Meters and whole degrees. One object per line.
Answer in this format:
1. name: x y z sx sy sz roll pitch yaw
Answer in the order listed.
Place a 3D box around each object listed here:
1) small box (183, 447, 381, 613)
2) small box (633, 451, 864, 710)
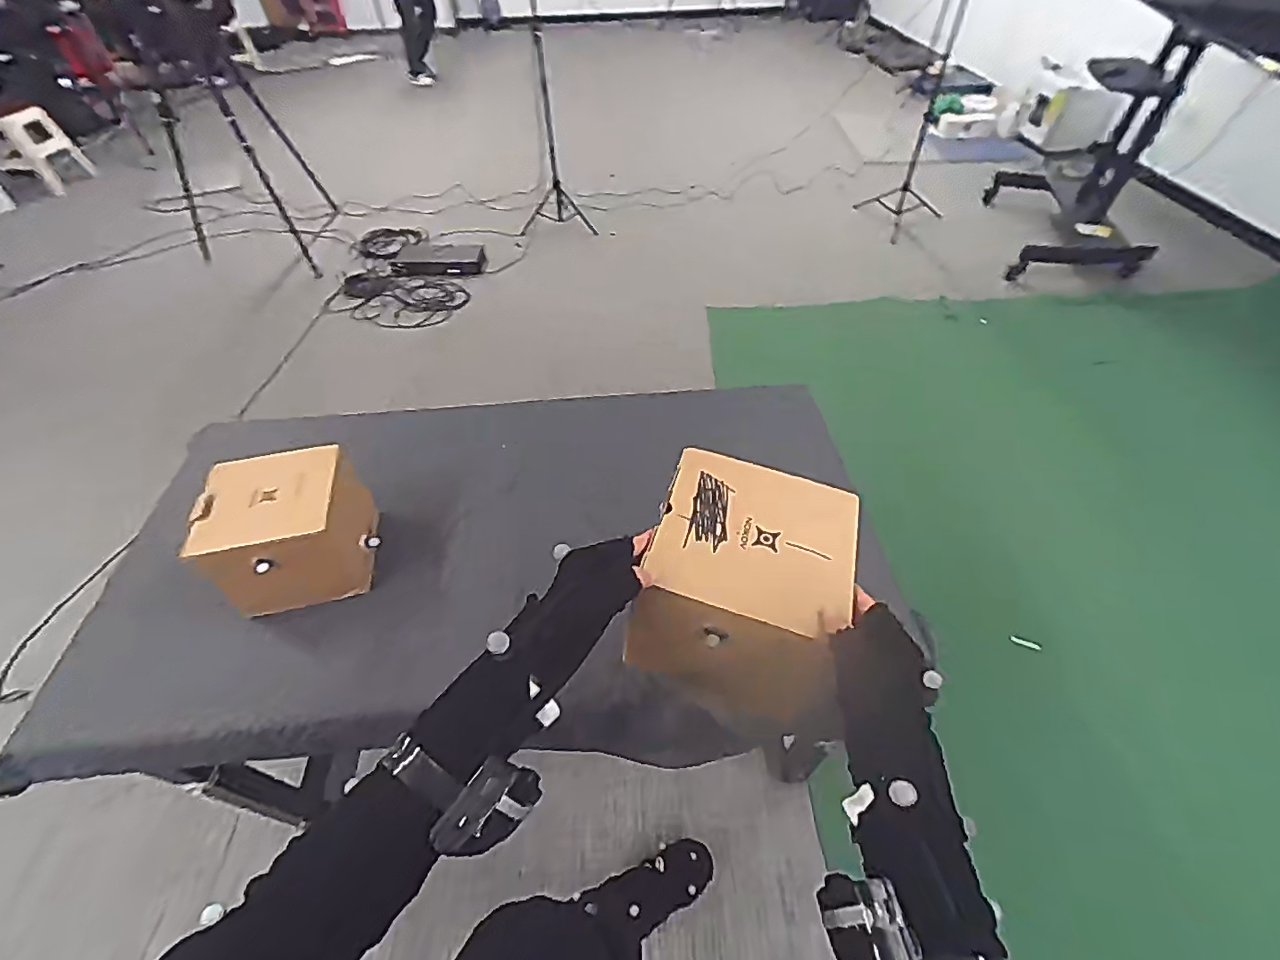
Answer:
1. small box: -0.511 0.078 0.804 0.179 0.176 0.168 -11 51 -9
2. small box: 0.101 0.104 0.540 0.179 0.176 0.168 18 51 8
